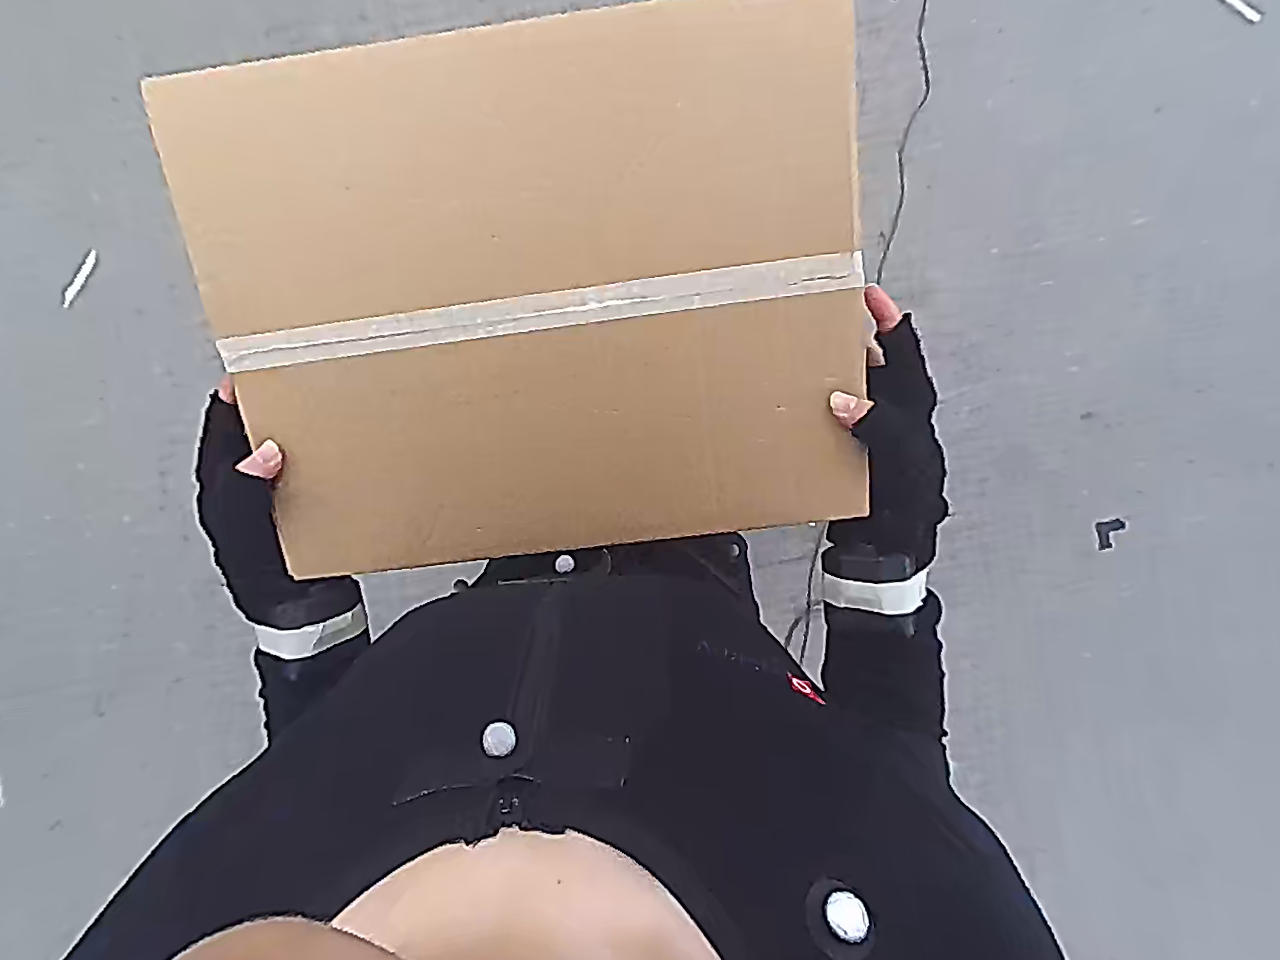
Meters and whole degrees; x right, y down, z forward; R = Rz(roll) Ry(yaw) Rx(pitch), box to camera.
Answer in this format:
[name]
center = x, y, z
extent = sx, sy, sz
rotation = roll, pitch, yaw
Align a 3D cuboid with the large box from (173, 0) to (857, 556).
[large box]
center = -0.066, -0.151, 0.492
extent = 0.408, 0.320, 0.320
rotation = -7, 104, 2
